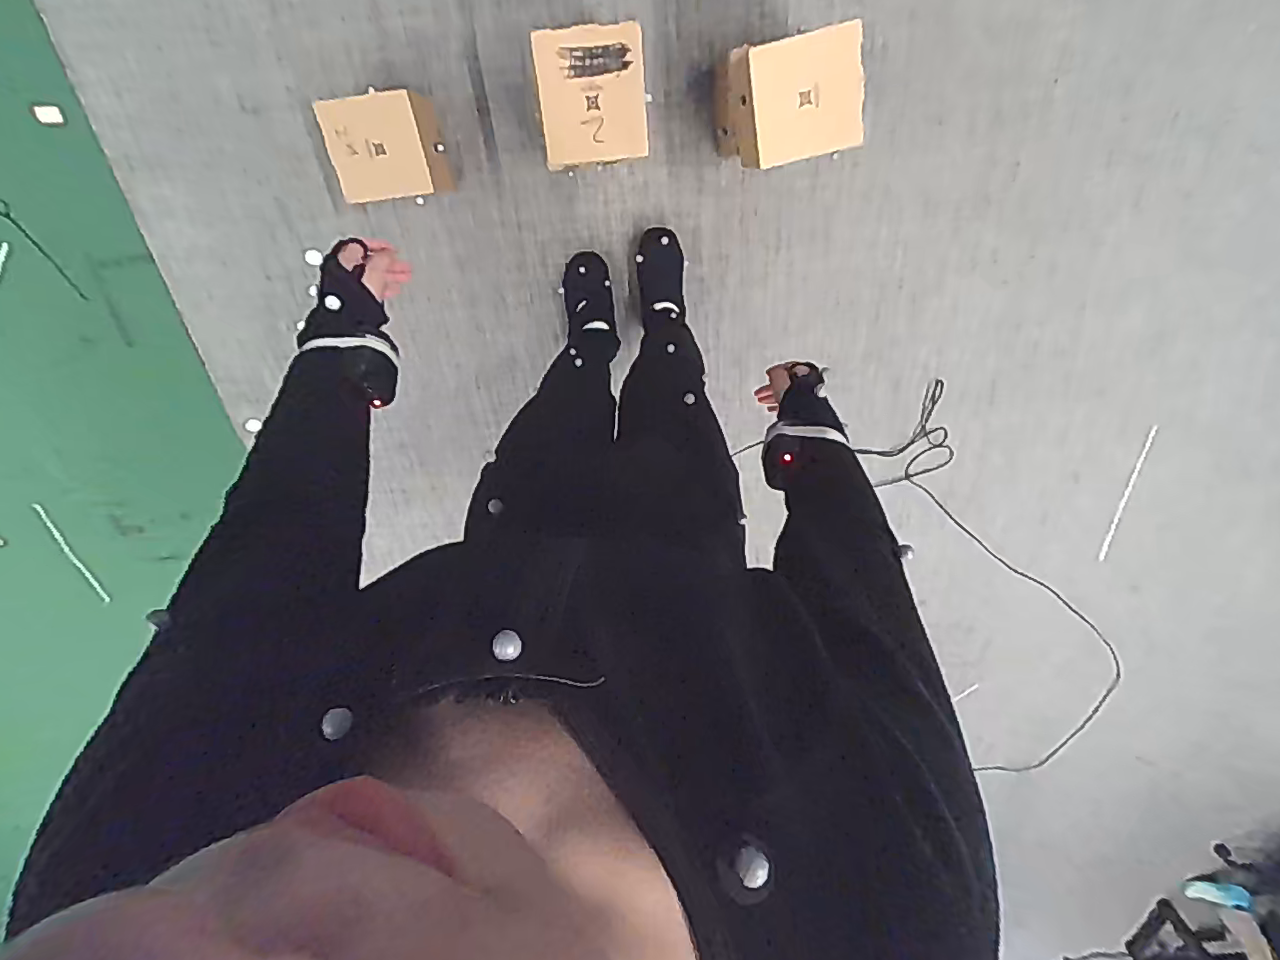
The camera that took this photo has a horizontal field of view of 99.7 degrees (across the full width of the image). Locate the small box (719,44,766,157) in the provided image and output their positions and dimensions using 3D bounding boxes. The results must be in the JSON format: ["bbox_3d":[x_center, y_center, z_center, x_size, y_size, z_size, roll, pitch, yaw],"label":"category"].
[{"bbox_3d":[0.251,-0.737,1.056,0.179,0.176,0.168,-8,121,2],"label":"small box"}]

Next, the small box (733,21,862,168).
[{"bbox_3d":[0.261,-0.642,0.924,0.179,0.176,0.168,-12,120,4],"label":"small box"}]

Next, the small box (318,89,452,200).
[{"bbox_3d":[-0.487,-0.660,1.072,0.179,0.176,0.168,-6,119,1],"label":"small box"}]

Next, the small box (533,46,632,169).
[{"bbox_3d":[-0.102,-0.715,1.054,0.168,0.176,0.179,-6,119,1],"label":"small box"}]
